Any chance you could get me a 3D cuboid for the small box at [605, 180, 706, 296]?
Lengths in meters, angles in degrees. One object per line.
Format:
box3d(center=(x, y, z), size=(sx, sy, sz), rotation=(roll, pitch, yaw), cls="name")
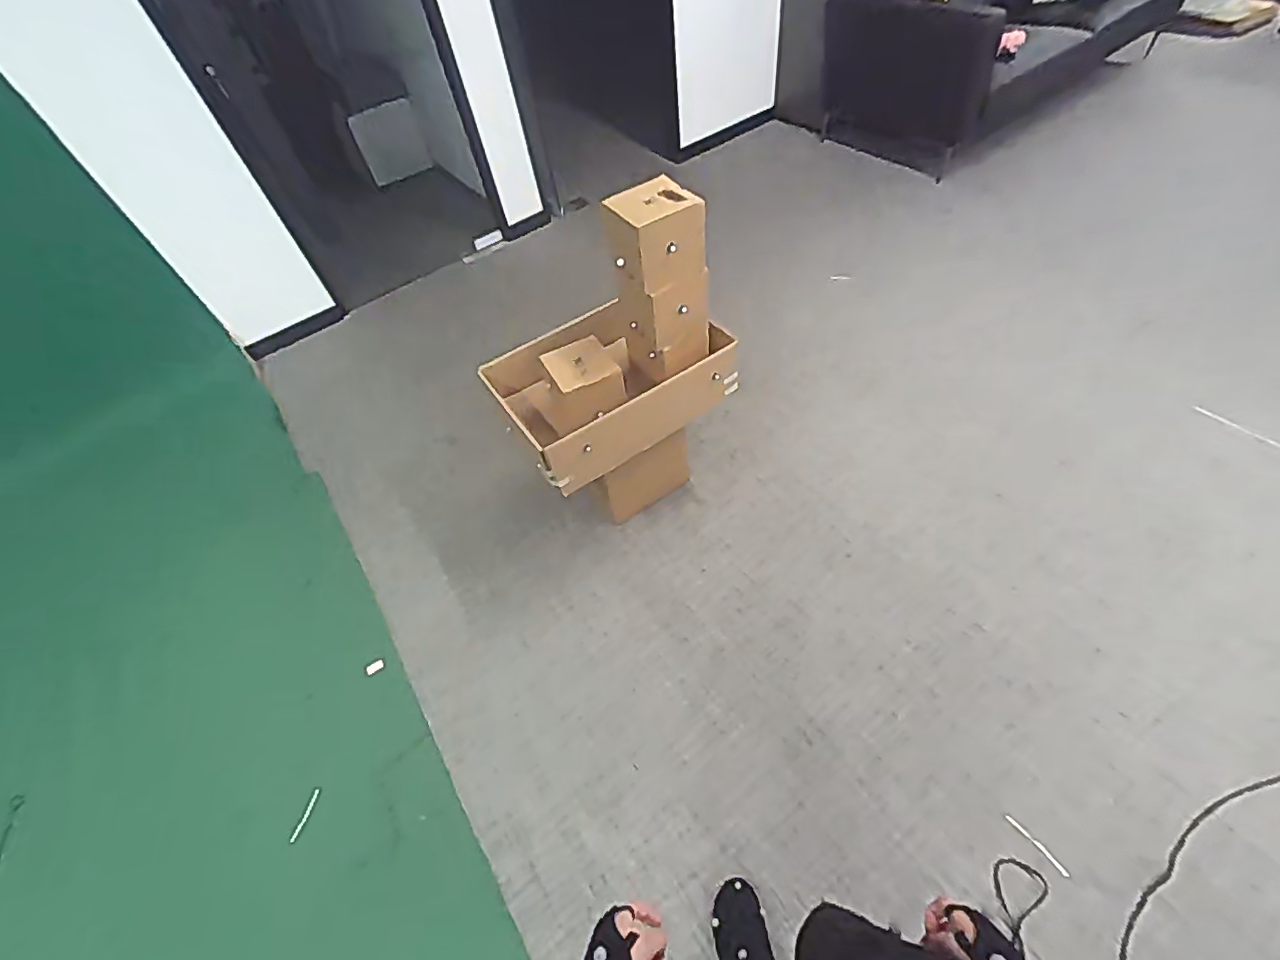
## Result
box3d(center=(0.040, -0.569, 1.275), size=(0.179, 0.176, 0.168), rotation=(-29, 54, -13), cls="small box")
